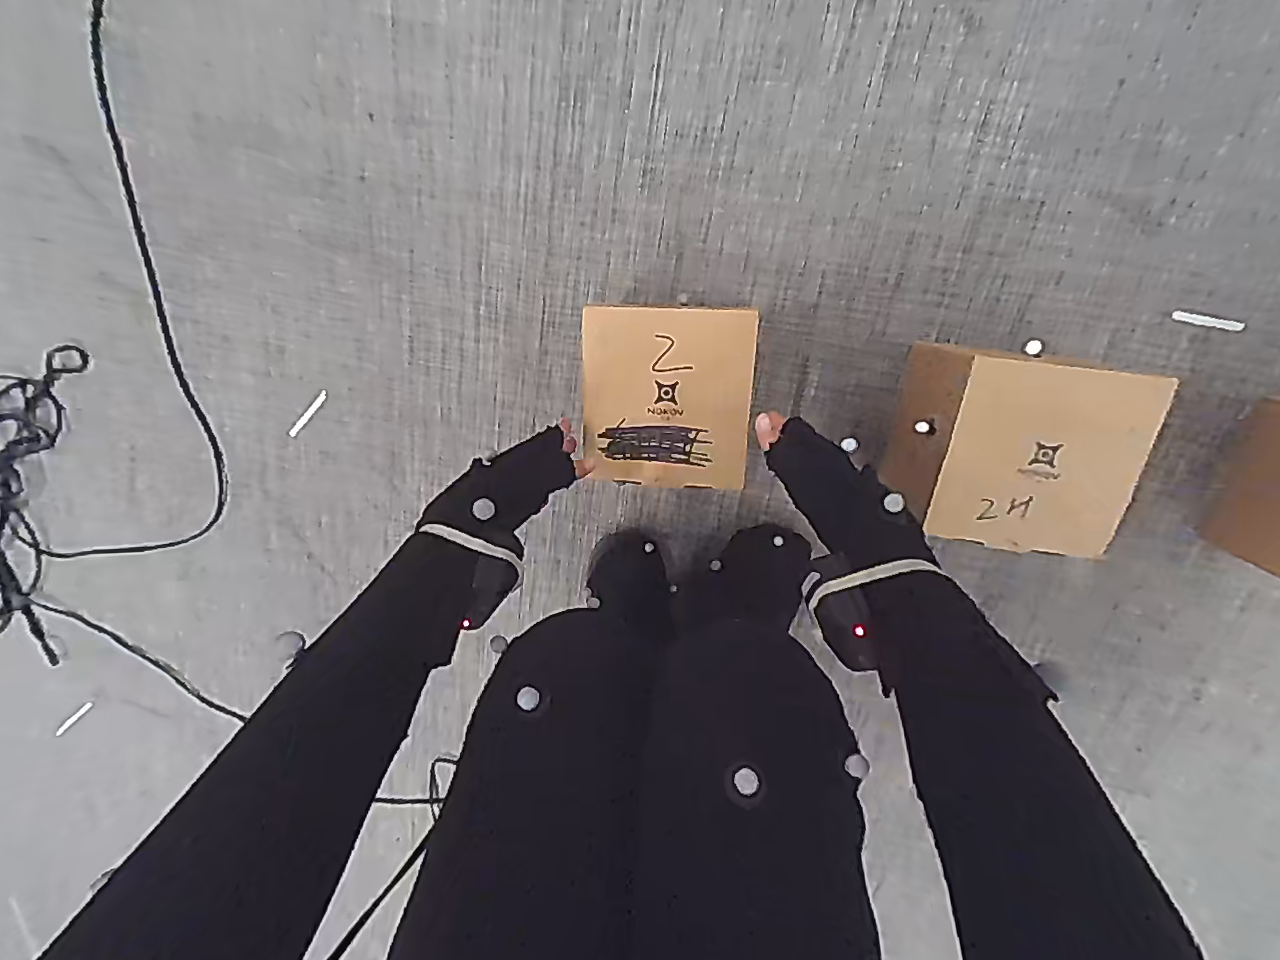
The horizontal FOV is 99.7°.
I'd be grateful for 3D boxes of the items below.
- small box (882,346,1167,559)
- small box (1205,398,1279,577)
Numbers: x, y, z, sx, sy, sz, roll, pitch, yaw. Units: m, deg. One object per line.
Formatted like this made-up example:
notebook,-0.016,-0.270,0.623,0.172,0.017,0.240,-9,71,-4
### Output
small box,0.377,-0.042,0.574,0.168,0.176,0.179,9,110,7
small box,0.745,0.024,0.543,0.168,0.176,0.179,6,108,6
